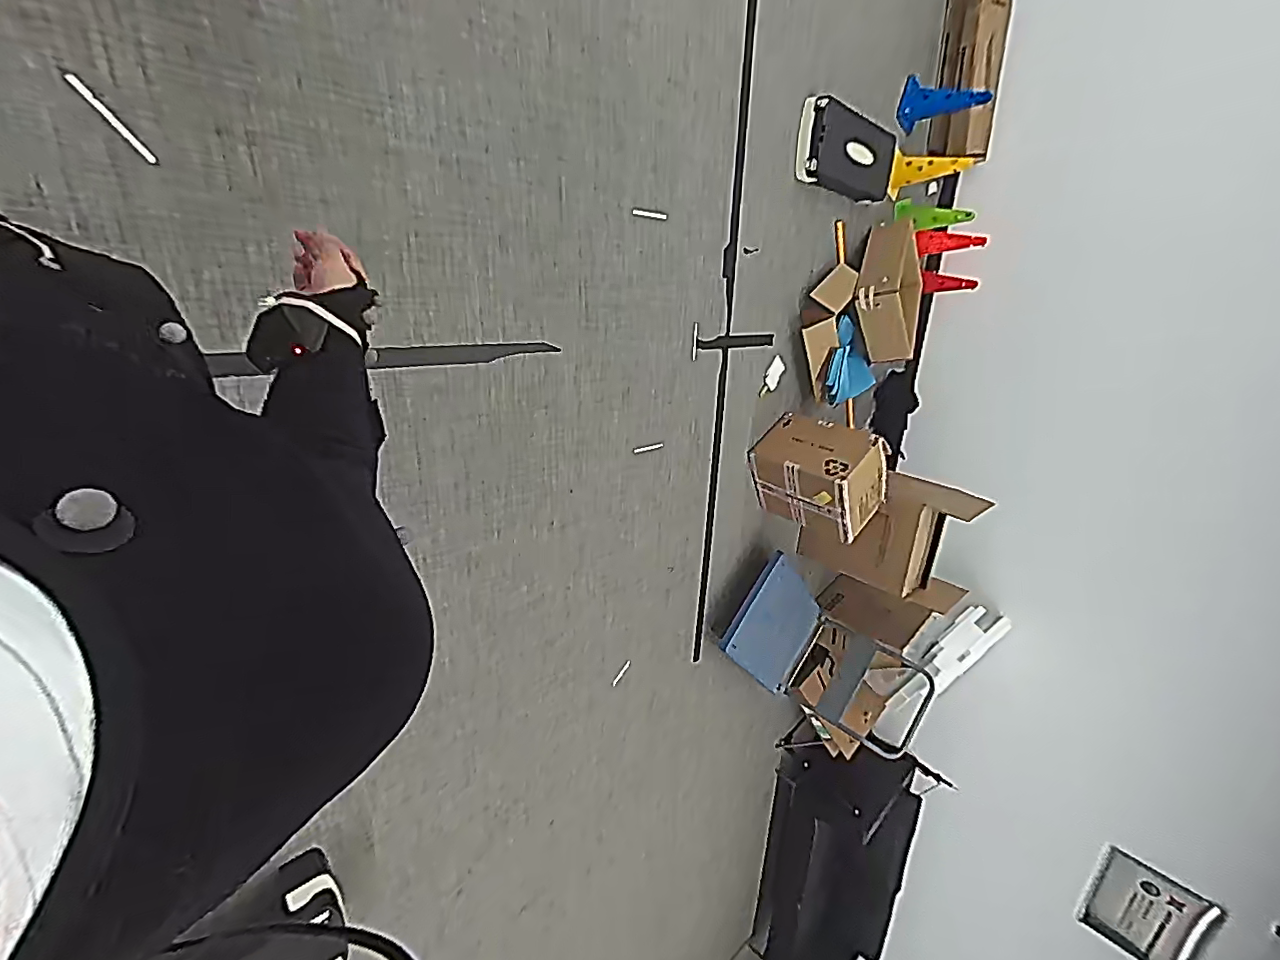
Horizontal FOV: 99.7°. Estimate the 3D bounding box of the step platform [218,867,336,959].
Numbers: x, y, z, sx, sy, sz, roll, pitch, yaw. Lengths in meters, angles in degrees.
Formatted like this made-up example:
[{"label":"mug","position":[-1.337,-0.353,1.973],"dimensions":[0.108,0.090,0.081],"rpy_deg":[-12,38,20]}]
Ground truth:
[{"label":"step platform","position":[-1.136,1.317,1.319],"dimensions":[0.684,0.204,0.286],"rpy_deg":[-17,119,-42]}]
